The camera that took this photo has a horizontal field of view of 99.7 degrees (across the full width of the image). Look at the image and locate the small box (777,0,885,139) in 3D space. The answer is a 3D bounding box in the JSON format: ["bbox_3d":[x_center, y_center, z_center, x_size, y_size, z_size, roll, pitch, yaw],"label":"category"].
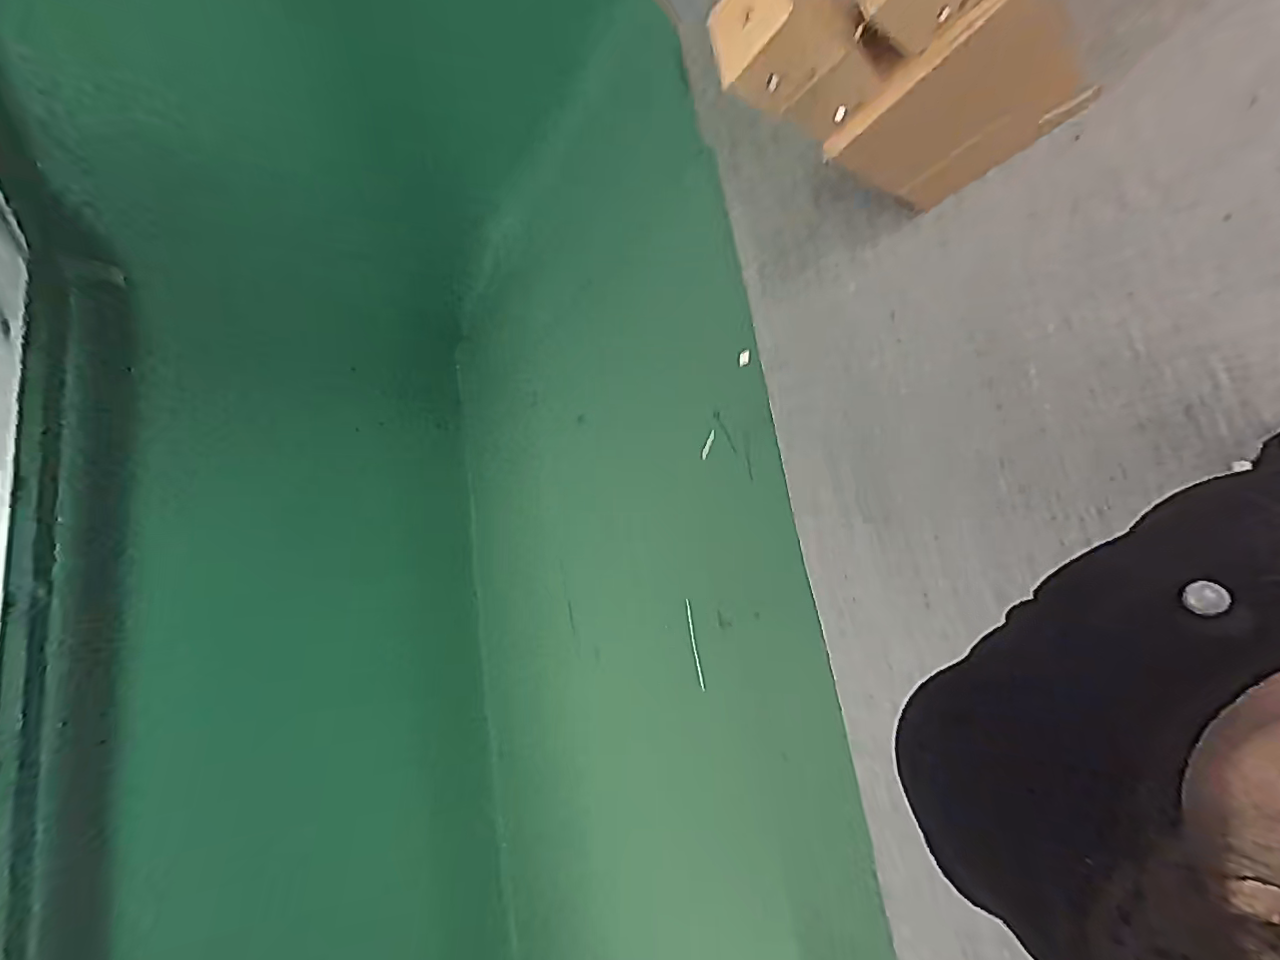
[{"bbox_3d":[0.394,-0.884,1.162,0.168,0.176,0.179,-24,74,50],"label":"small box"}]

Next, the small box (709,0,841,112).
[{"bbox_3d":[0.266,-0.868,1.062,0.168,0.176,0.179,-25,72,50],"label":"small box"}]
